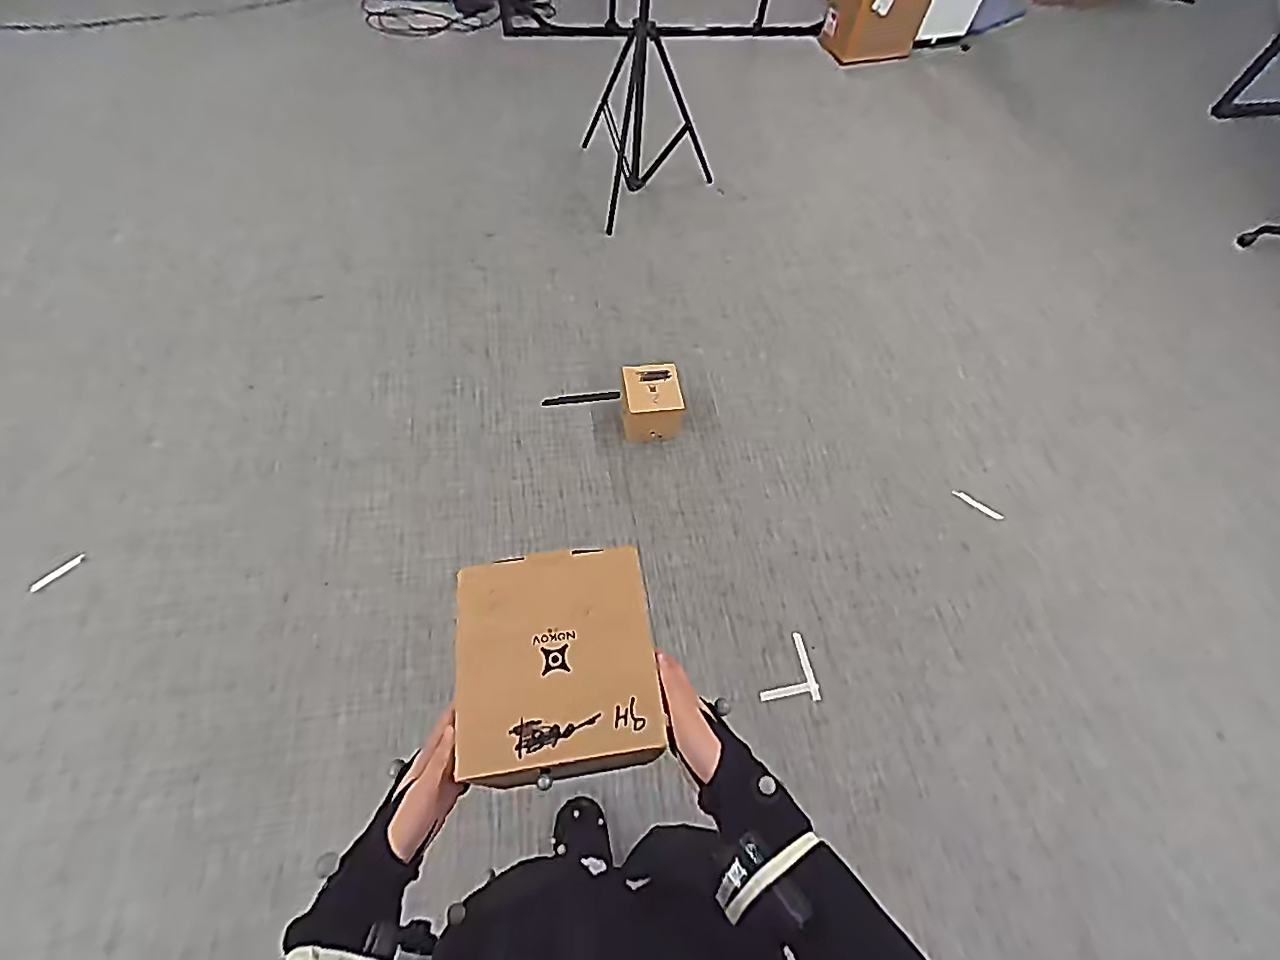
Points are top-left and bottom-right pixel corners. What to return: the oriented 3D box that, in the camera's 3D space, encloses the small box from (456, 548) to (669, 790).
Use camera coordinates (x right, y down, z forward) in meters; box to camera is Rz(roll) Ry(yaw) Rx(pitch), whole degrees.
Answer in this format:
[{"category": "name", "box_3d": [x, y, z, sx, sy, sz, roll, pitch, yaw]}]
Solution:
[{"category": "small box", "box_3d": [-0.073, 0.186, 0.522, 0.168, 0.176, 0.179, -6, 59, -7]}]
